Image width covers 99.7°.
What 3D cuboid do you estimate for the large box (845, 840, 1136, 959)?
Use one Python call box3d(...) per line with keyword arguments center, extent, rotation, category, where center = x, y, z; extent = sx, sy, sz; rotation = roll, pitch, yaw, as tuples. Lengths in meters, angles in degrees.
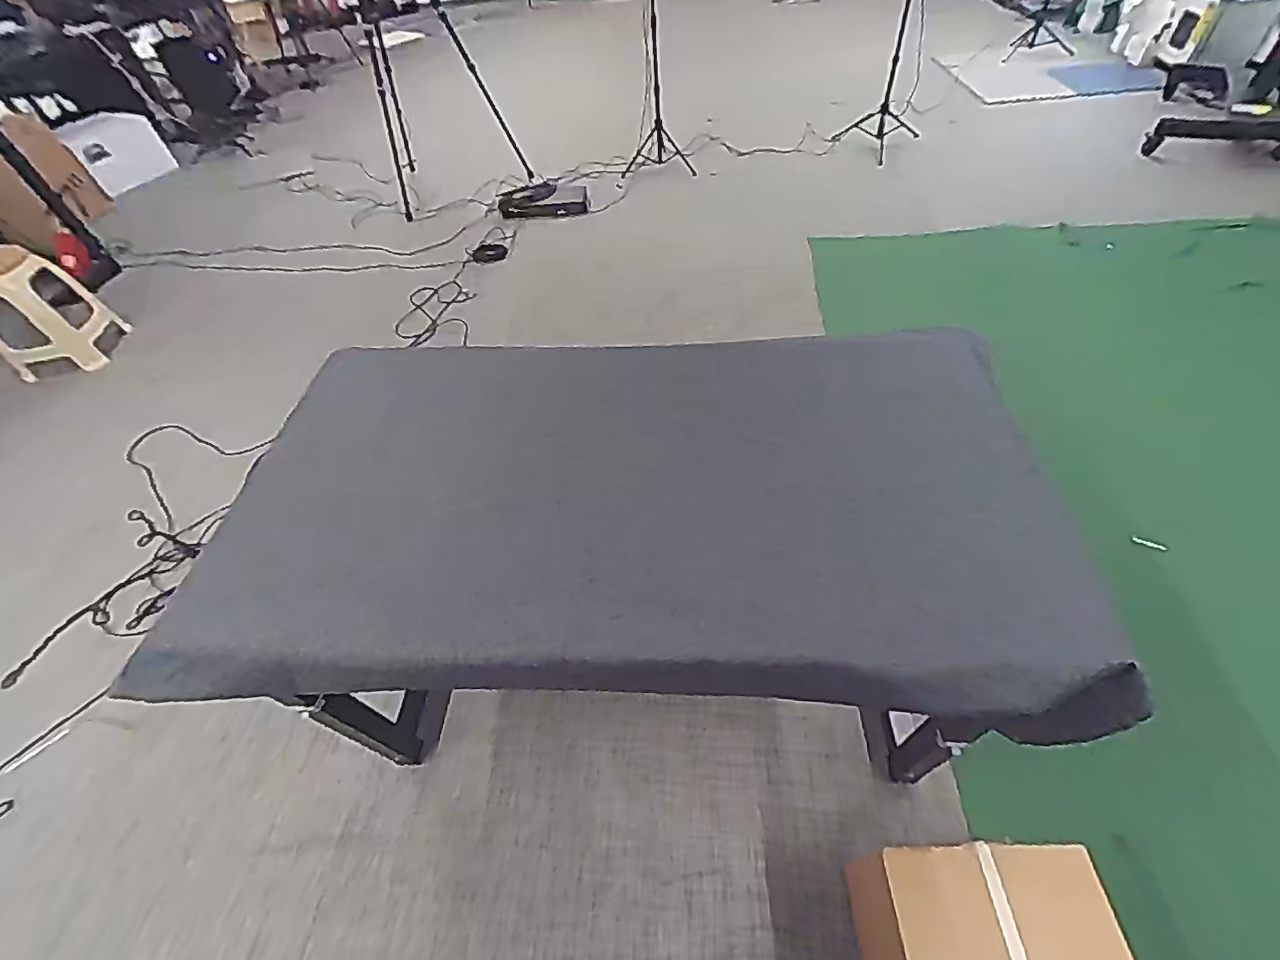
box3d(center=(0.552, 0.816, 0.839), extent=(0.320, 0.320, 0.408), rotation=(-4, 51, 4), category="large box")
